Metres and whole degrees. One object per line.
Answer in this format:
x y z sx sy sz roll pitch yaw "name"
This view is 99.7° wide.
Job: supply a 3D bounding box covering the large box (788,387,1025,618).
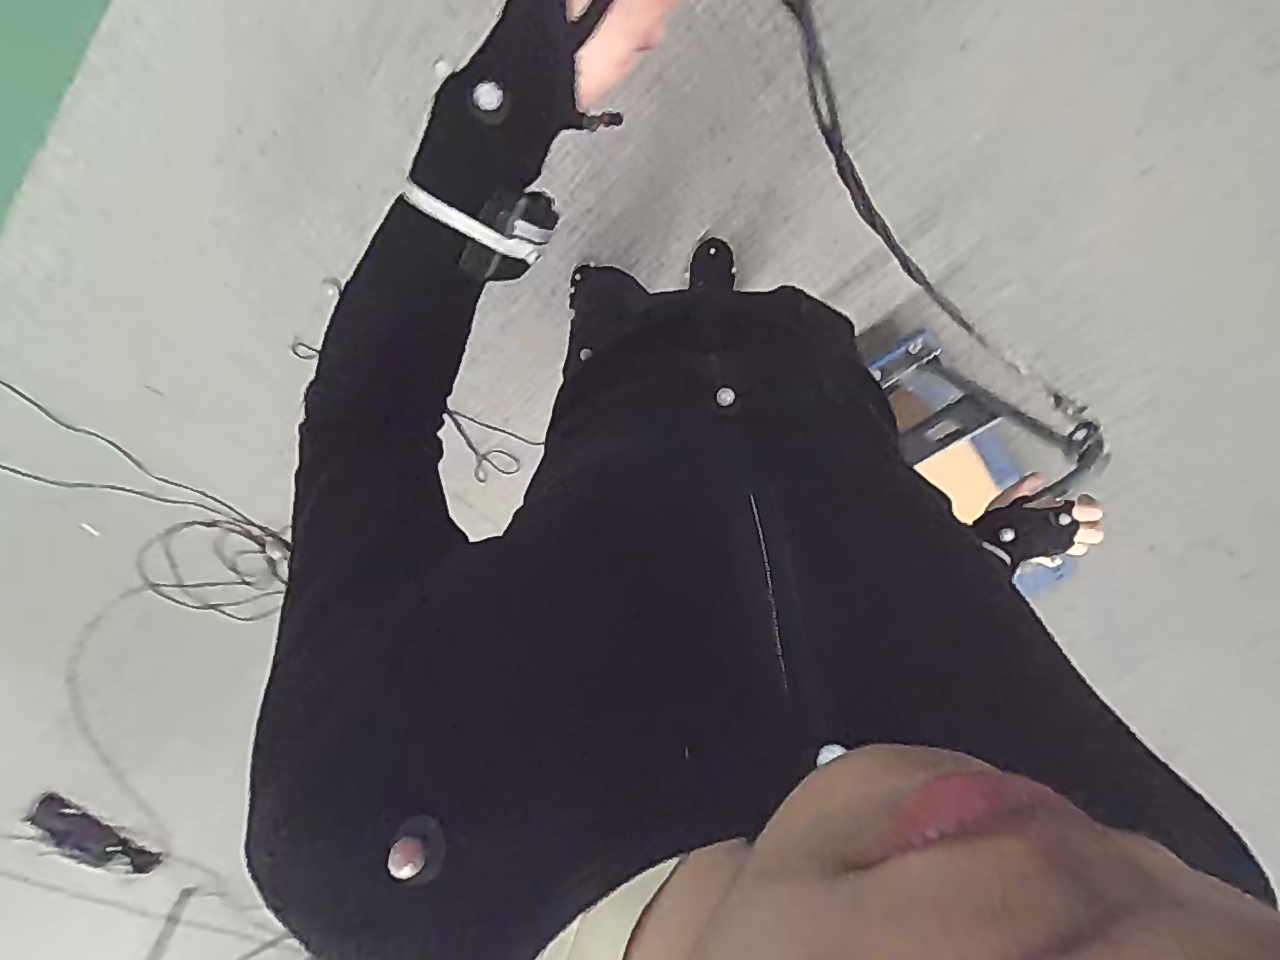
0.625 0.046 1.327 0.320 0.320 0.408 -35 109 18 "large box"
